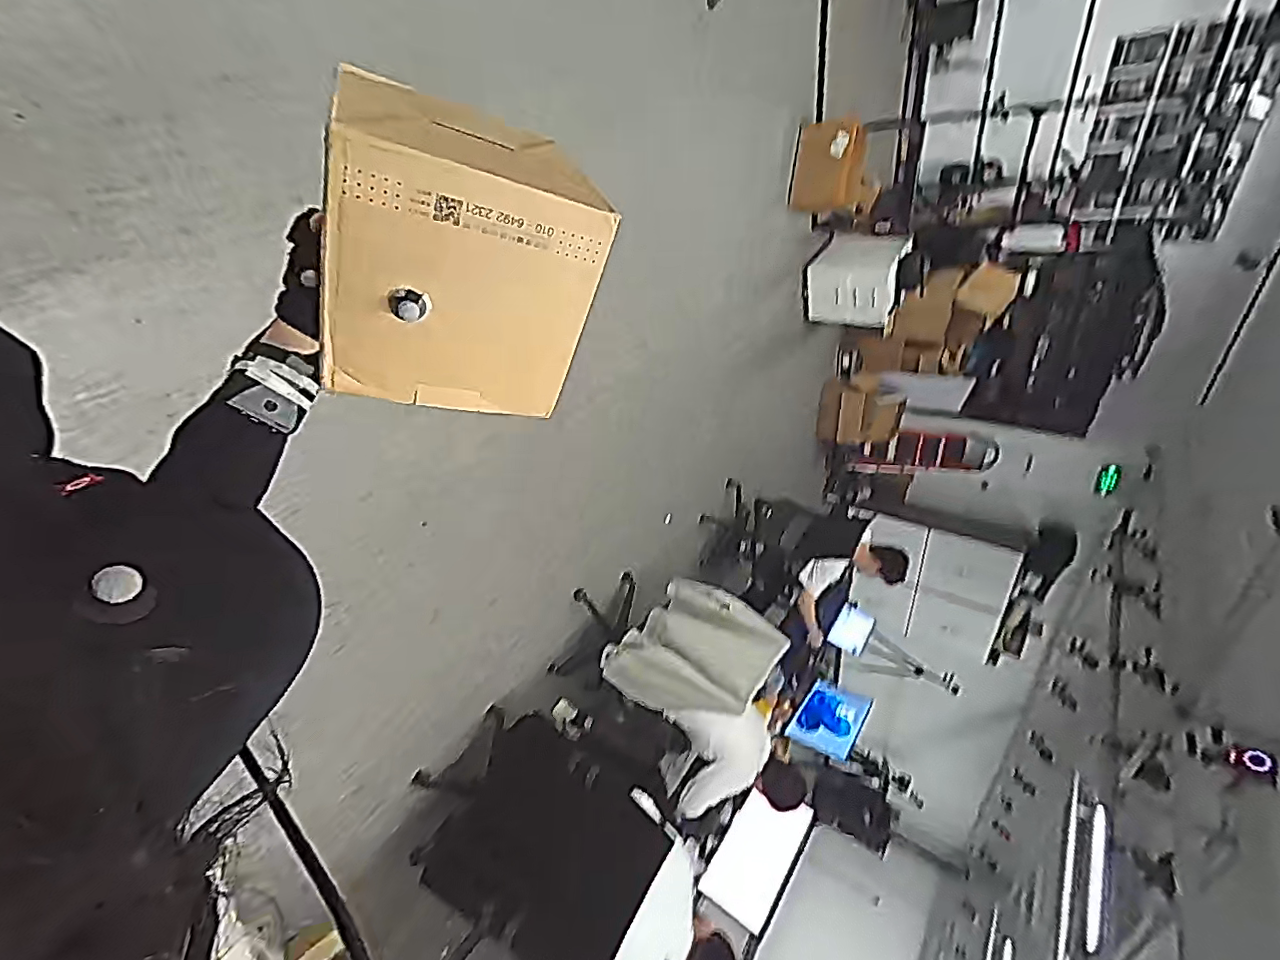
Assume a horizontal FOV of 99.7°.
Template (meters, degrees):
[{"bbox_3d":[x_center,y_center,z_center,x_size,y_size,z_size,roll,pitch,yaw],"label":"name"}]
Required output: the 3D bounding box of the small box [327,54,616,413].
[{"bbox_3d":[-0.134,-0.174,0.398,0.168,0.179,0.176,3,133,-31],"label":"small box"}]
